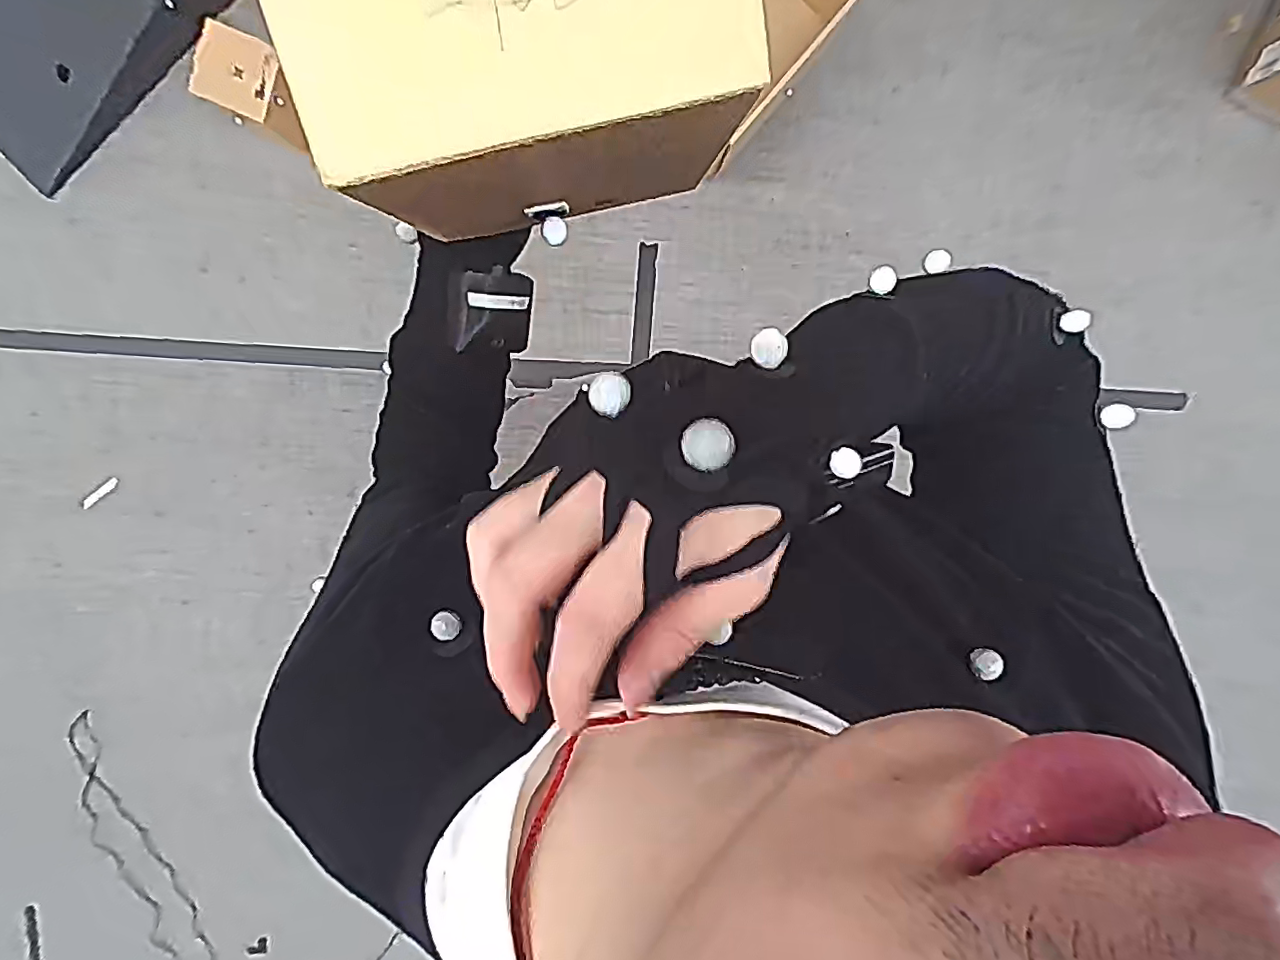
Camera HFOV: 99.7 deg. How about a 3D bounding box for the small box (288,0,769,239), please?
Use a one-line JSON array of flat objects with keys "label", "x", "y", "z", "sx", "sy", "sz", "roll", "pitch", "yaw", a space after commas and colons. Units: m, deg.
[{"label": "small box", "x": -0.052, "y": -0.231, "z": 0.255, "sx": 0.168, "sy": 0.176, "sz": 0.179, "roll": -13, "pitch": 108, "yaw": 1}]
